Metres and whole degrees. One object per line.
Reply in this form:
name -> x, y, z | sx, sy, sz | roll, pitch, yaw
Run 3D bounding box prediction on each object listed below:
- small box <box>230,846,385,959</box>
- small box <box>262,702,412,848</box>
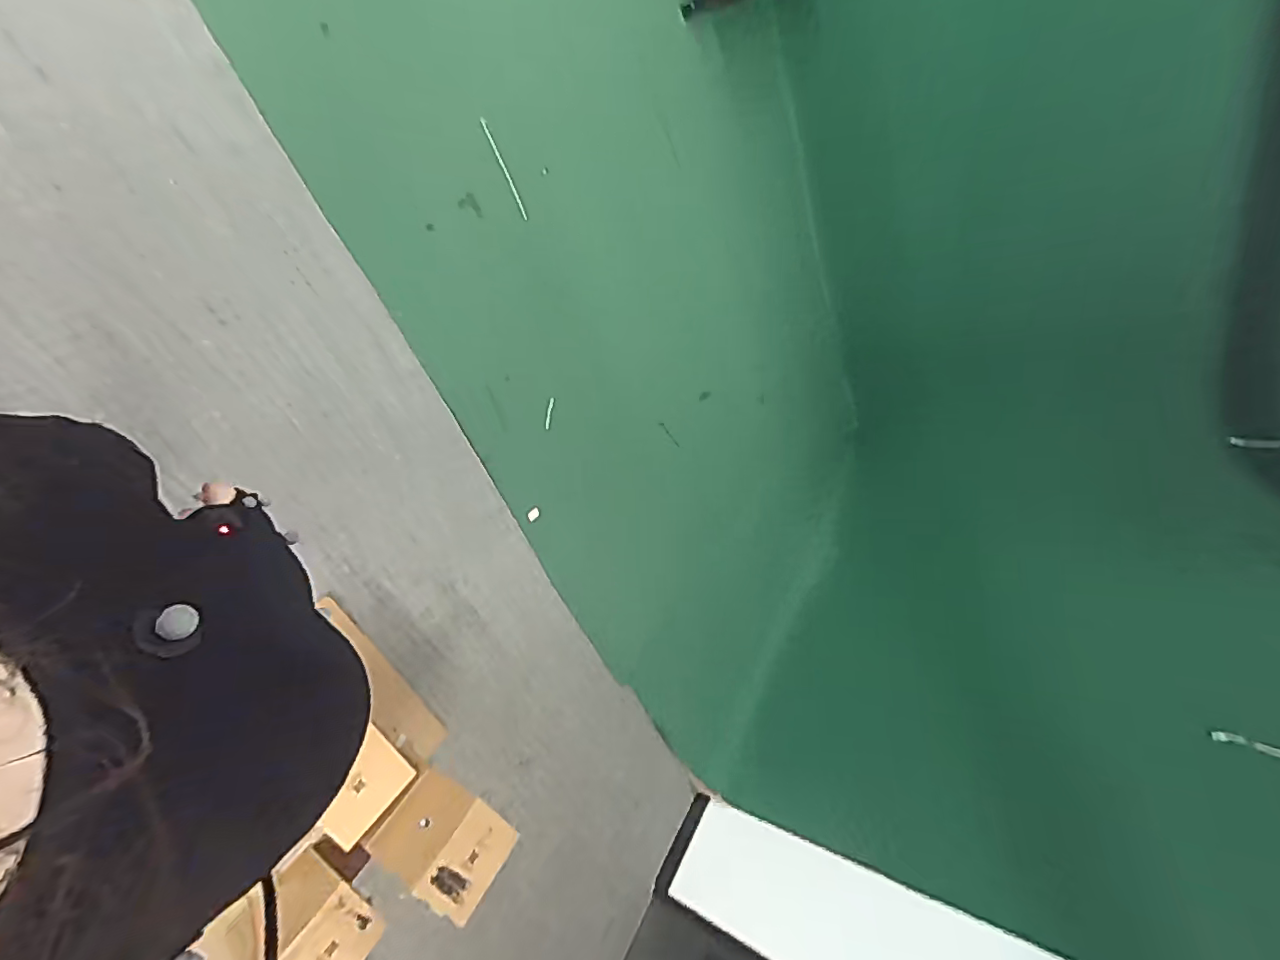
small box -> -0.639, 0.856, 1.032 | 0.179, 0.176, 0.168 | -45, 123, -42
small box -> -0.601, 0.574, 1.075 | 0.168, 0.176, 0.179 | -47, 123, -38
